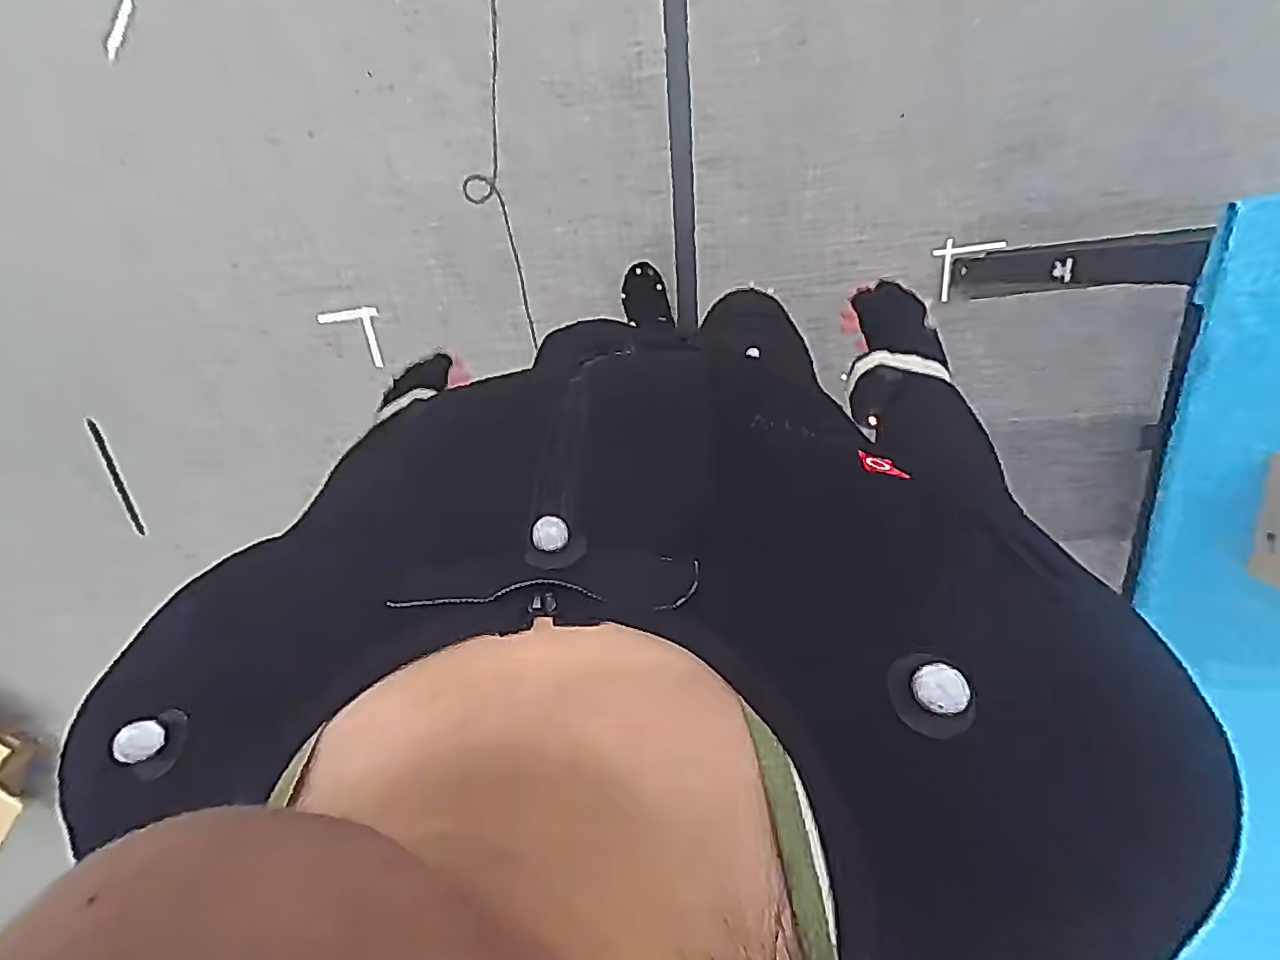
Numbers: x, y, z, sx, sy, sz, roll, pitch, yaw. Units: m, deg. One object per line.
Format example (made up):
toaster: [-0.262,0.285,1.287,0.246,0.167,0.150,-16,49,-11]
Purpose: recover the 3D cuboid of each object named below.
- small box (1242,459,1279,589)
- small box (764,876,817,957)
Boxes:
small box: [0.822,0.060,0.566,0.179,0.176,0.168,-4,109,11]
small box: [0.544,1.580,1.965,0.168,0.176,0.179,-4,111,9]
